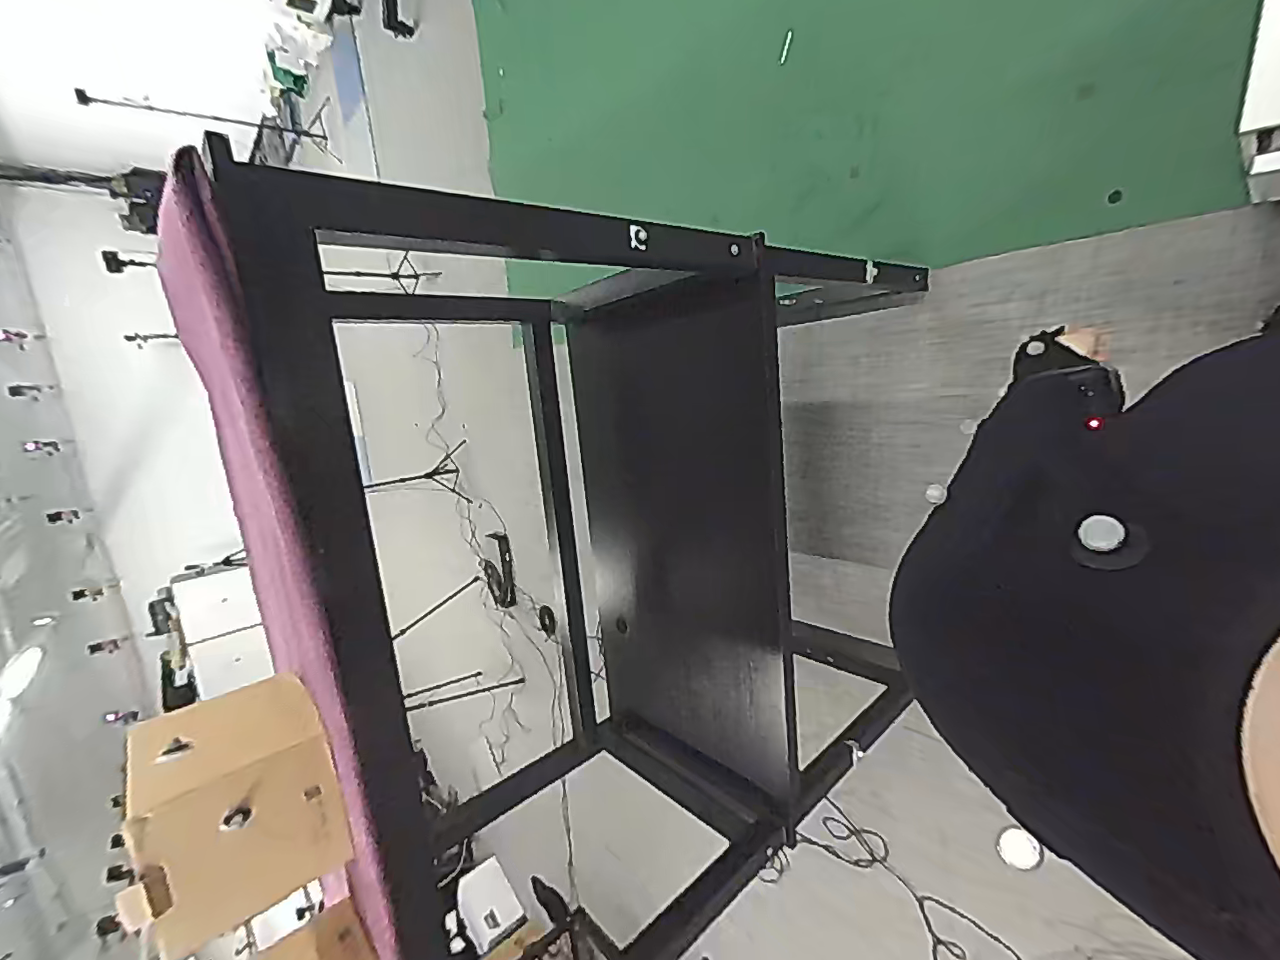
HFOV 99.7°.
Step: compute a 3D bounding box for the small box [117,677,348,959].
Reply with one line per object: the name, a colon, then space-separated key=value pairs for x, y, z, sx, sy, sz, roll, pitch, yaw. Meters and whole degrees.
small box: x=-0.438 y=0.346 z=0.596 sx=0.179 sy=0.176 sz=0.168 roll=11 pitch=108 yaw=48
